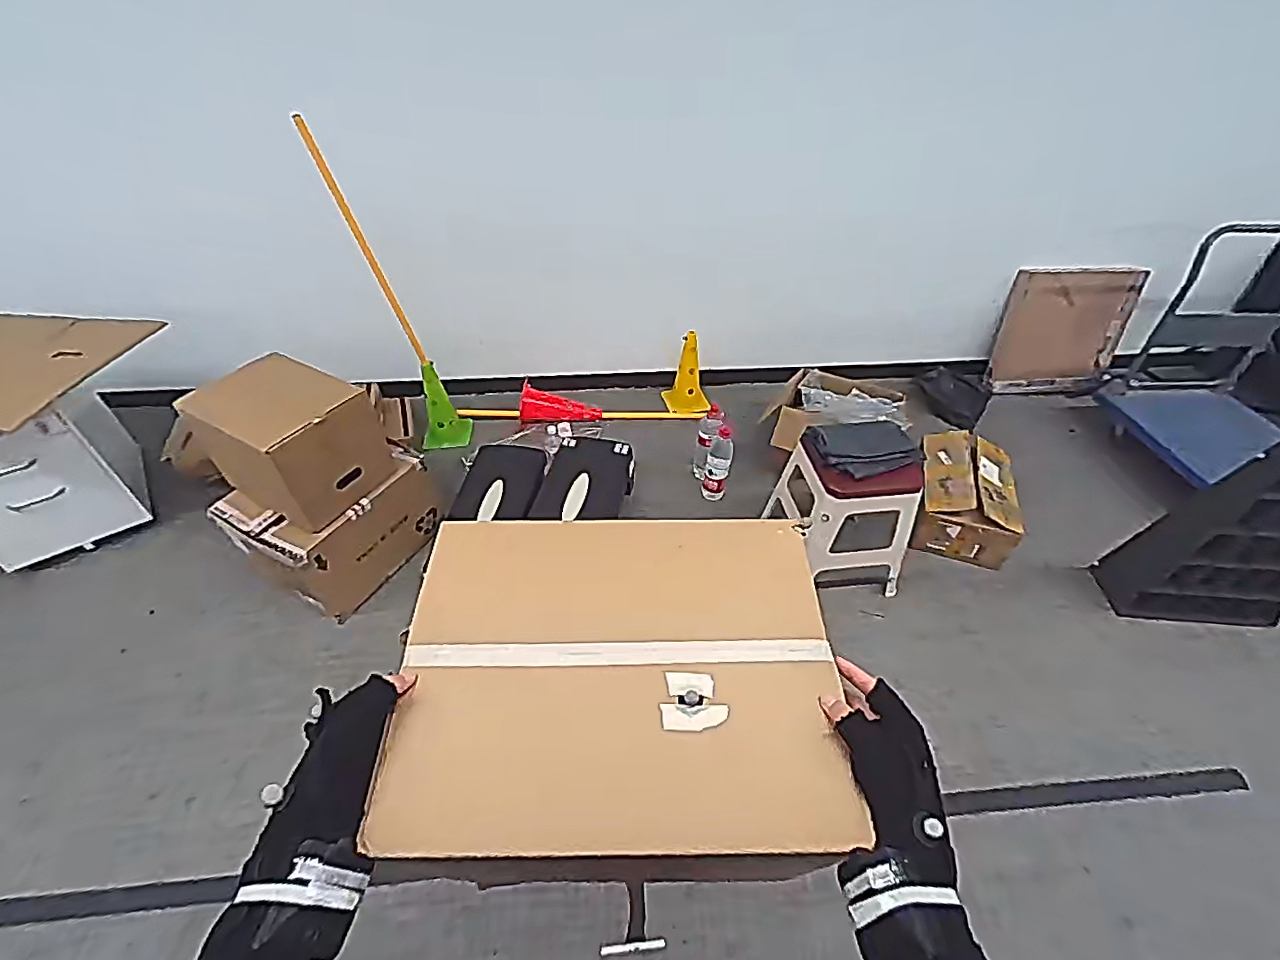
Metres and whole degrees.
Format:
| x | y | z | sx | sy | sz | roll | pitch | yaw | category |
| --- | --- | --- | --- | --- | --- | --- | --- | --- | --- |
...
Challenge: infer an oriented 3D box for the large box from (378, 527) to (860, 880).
| x | y | z | sx | sy | sz | roll | pitch | yaw | category |
| --- | --- | --- | --- | --- | --- | --- | --- | --- | --- |
| -0.021 | 0.270 | 0.646 | 0.408 | 0.320 | 0.320 | 0 | 51 | -1 | large box |
